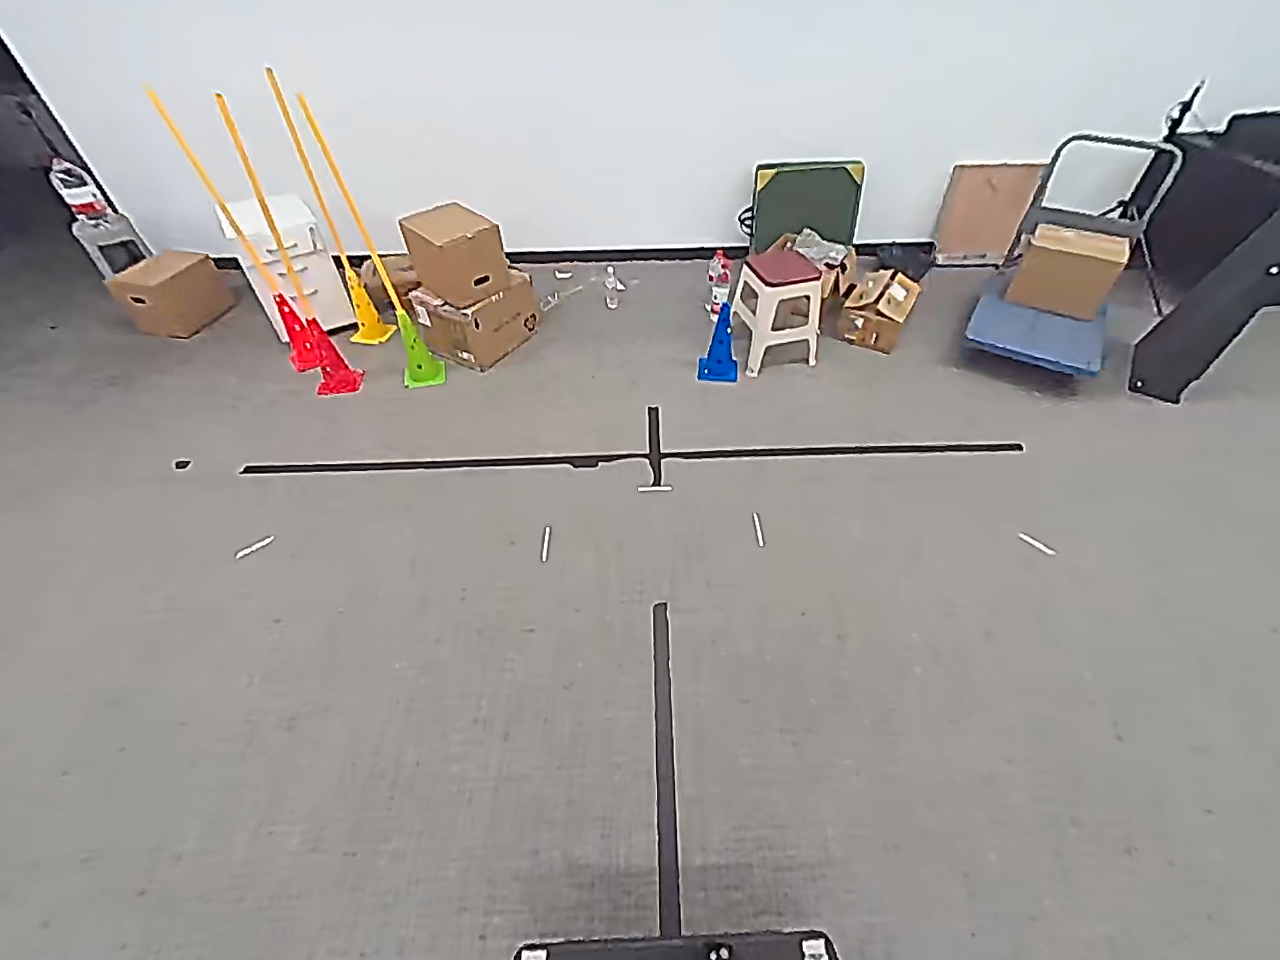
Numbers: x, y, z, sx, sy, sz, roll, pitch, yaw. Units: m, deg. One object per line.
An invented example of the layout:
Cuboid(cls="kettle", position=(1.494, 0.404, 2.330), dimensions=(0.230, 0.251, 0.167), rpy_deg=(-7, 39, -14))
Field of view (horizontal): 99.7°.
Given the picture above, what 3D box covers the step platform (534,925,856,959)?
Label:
Cuboid(cls="step platform", position=(0.110, 1.085, 1.071), dimensions=(0.684, 0.204, 0.286), rpy_deg=(-2, 46, -2))
